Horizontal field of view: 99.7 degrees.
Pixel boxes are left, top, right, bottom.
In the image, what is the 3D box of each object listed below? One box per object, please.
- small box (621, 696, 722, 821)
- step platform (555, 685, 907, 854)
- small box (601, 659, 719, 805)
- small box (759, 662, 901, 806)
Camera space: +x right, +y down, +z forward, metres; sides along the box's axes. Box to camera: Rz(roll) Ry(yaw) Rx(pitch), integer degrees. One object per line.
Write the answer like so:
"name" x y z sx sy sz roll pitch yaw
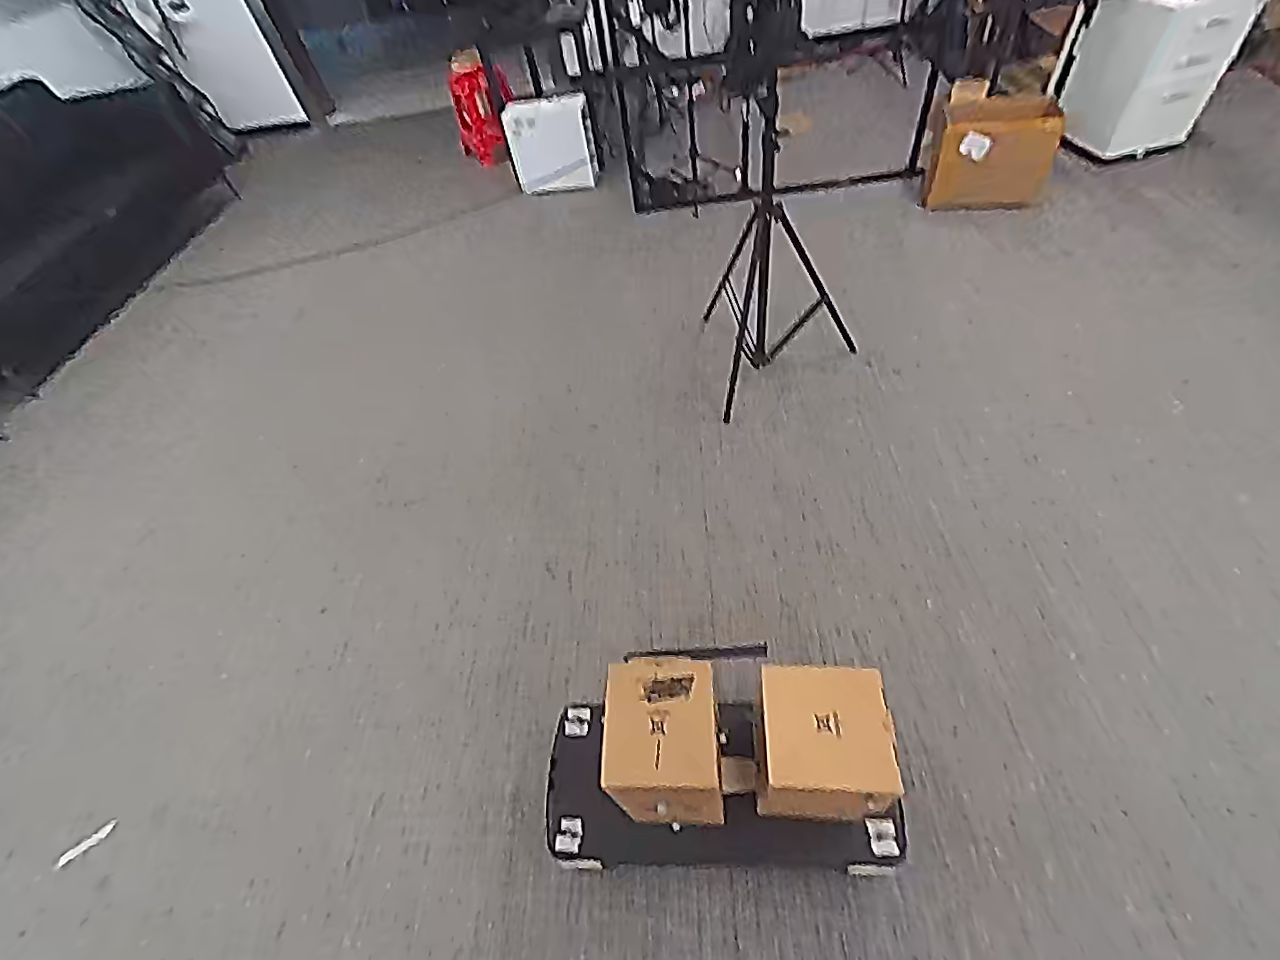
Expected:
"small box" 0.063 0.505 0.985 0.168 0.176 0.179 -3 51 8
"step platform" 0.170 0.594 1.120 0.684 0.204 0.286 -5 51 7
"small box" 0.039 0.401 0.860 0.168 0.176 0.179 -3 51 7
"small box" 0.275 0.391 0.829 0.179 0.176 0.168 -2 51 8
